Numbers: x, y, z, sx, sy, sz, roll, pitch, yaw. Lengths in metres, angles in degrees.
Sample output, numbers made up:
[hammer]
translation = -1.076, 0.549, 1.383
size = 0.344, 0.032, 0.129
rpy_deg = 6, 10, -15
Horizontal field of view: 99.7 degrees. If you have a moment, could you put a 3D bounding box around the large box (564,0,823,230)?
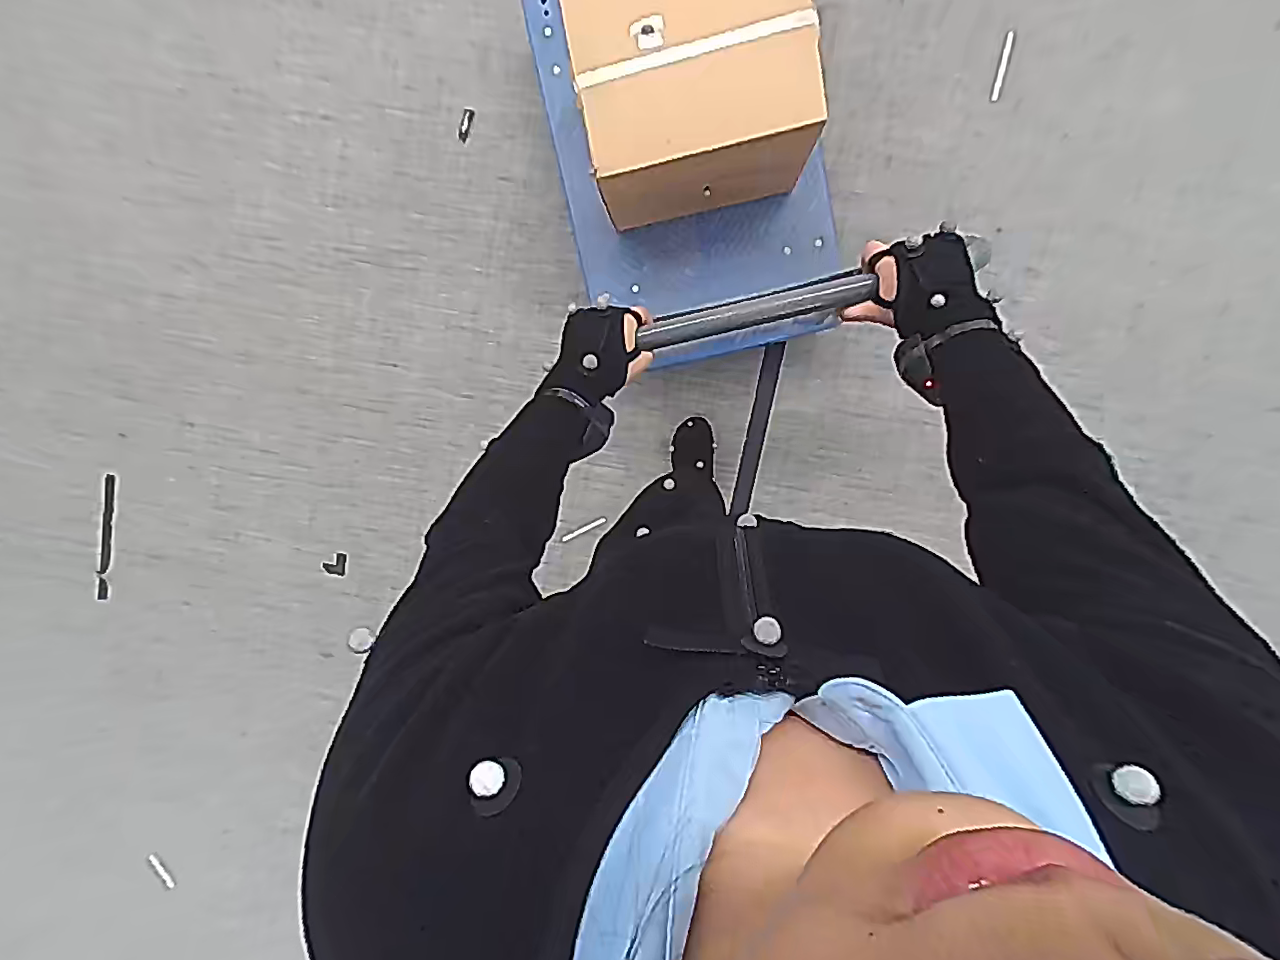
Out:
[large box]
translation = 0.106, -0.744, 1.075
size = 0.408, 0.320, 0.320
rpy_deg = -11, 96, 7
